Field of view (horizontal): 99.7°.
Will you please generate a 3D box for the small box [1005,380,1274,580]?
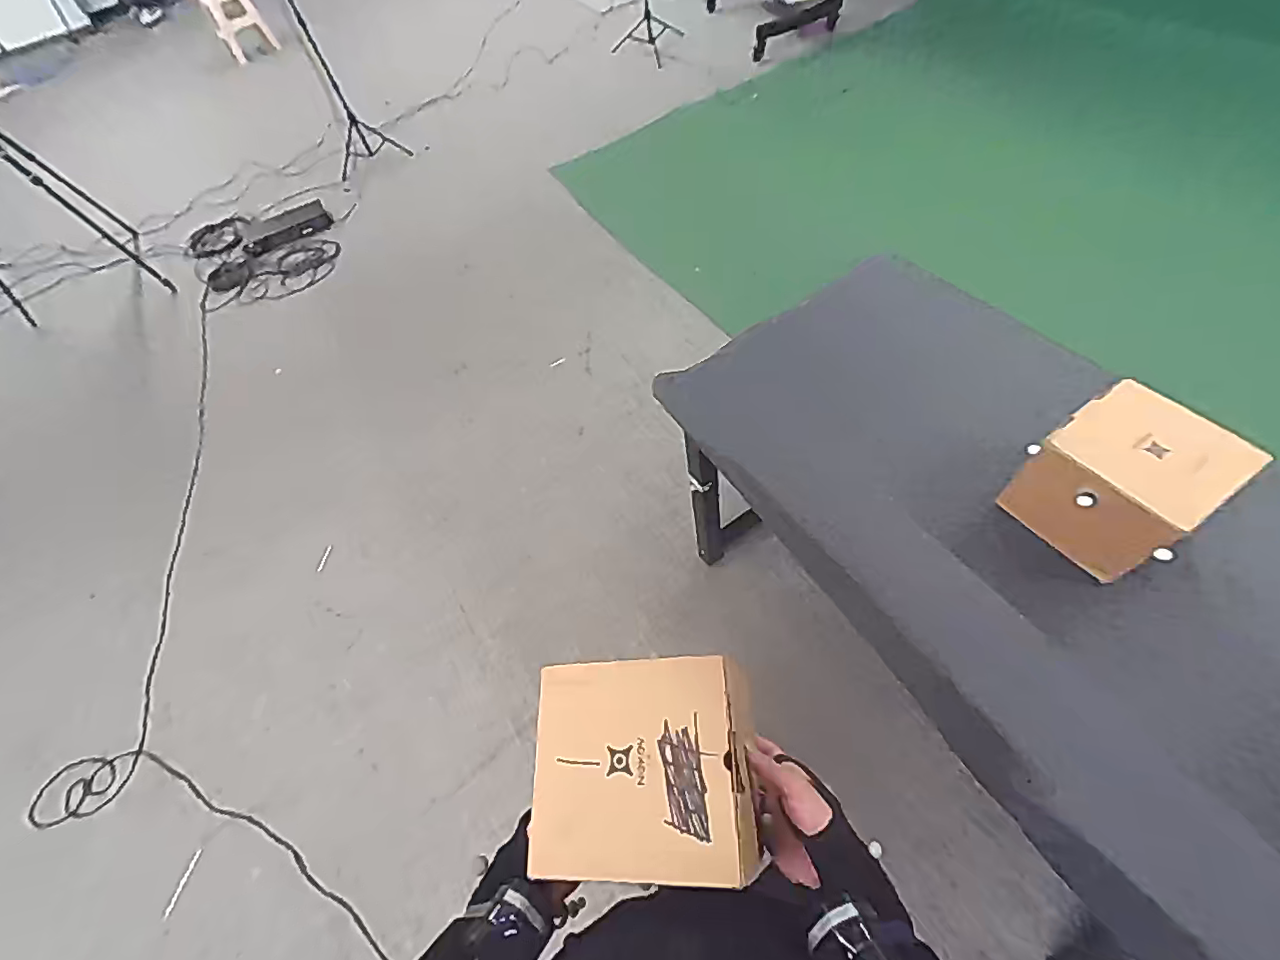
[{"bbox_3d":[0.652,0.005,0.736,0.168,0.176,0.179,-34,60,-11],"label":"small box"}]
